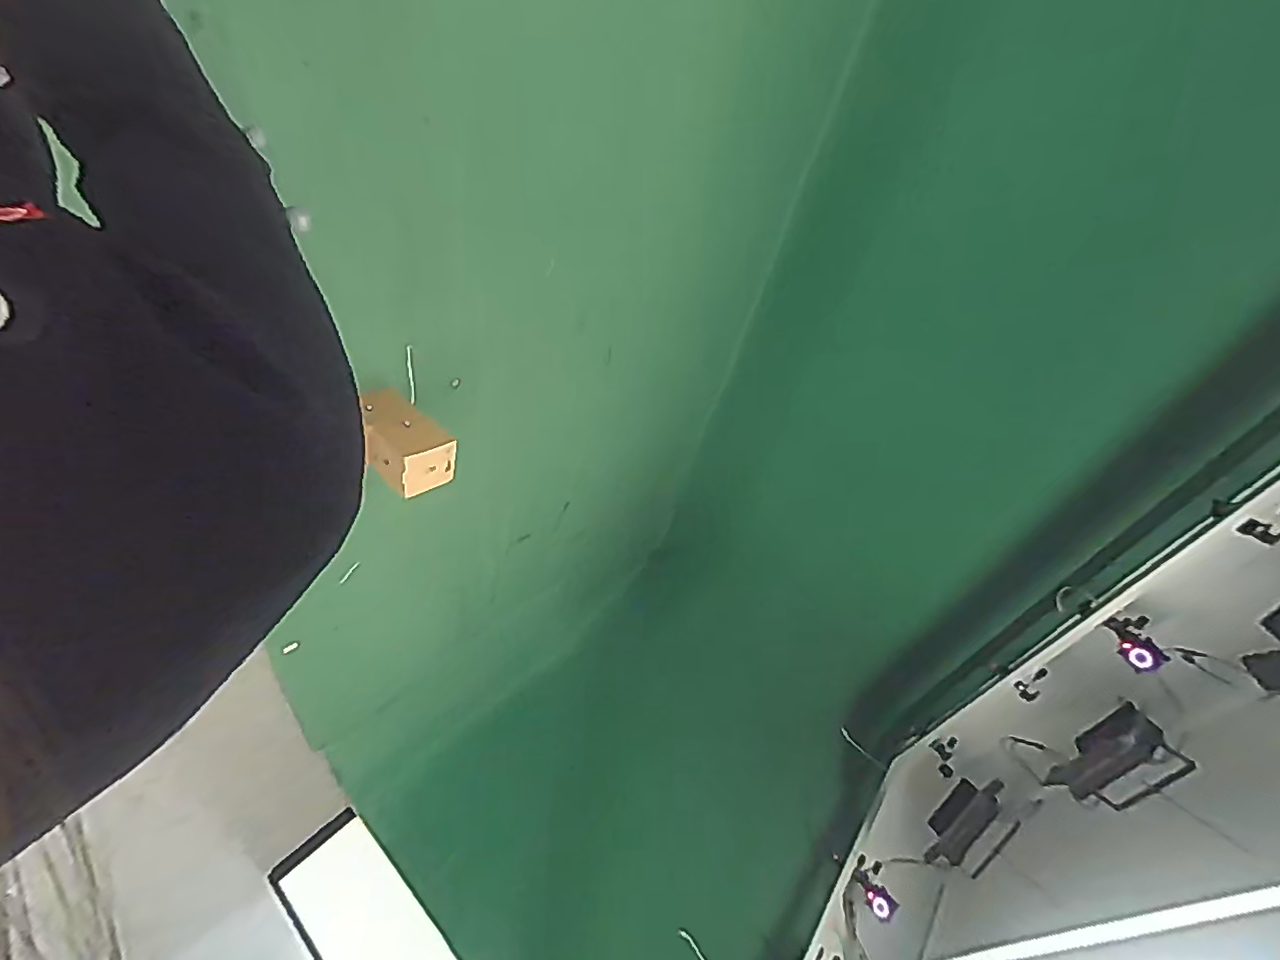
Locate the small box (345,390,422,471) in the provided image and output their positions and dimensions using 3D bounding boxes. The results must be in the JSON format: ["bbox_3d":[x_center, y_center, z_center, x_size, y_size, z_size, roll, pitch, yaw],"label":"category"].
[{"bbox_3d":[-0.814,-0.162,1.715,0.179,0.176,0.168,-30,151,-47],"label":"small box"}]

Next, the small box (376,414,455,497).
[{"bbox_3d":[-0.701,-0.081,1.671,0.179,0.176,0.168,-28,149,-45],"label":"small box"}]
